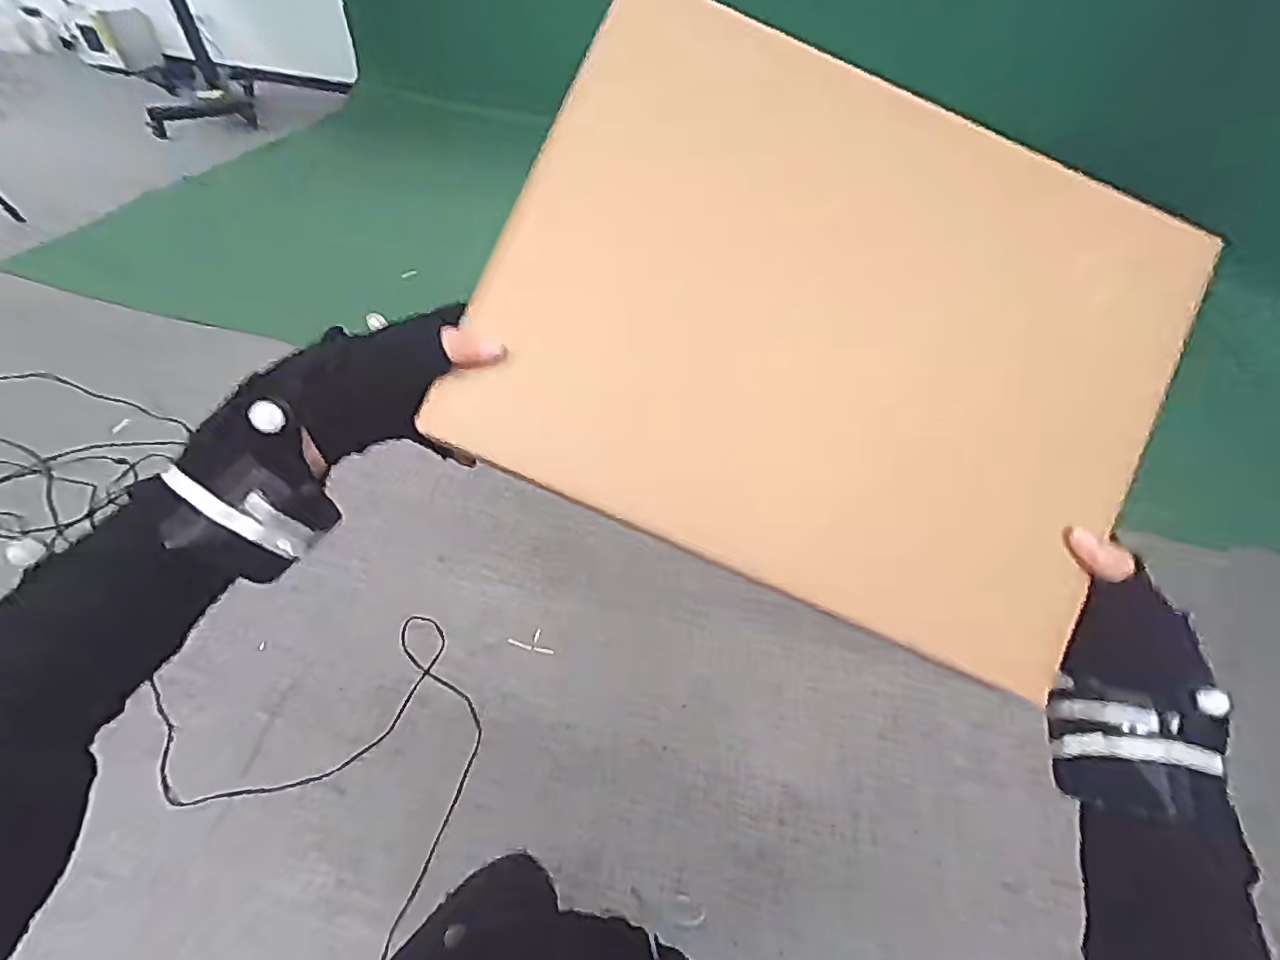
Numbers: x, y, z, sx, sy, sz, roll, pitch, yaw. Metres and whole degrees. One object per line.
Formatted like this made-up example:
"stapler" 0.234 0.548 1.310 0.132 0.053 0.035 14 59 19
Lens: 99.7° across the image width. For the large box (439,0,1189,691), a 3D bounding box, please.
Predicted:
"large box" 0.108 -0.077 0.479 0.408 0.320 0.320 25 86 -1
